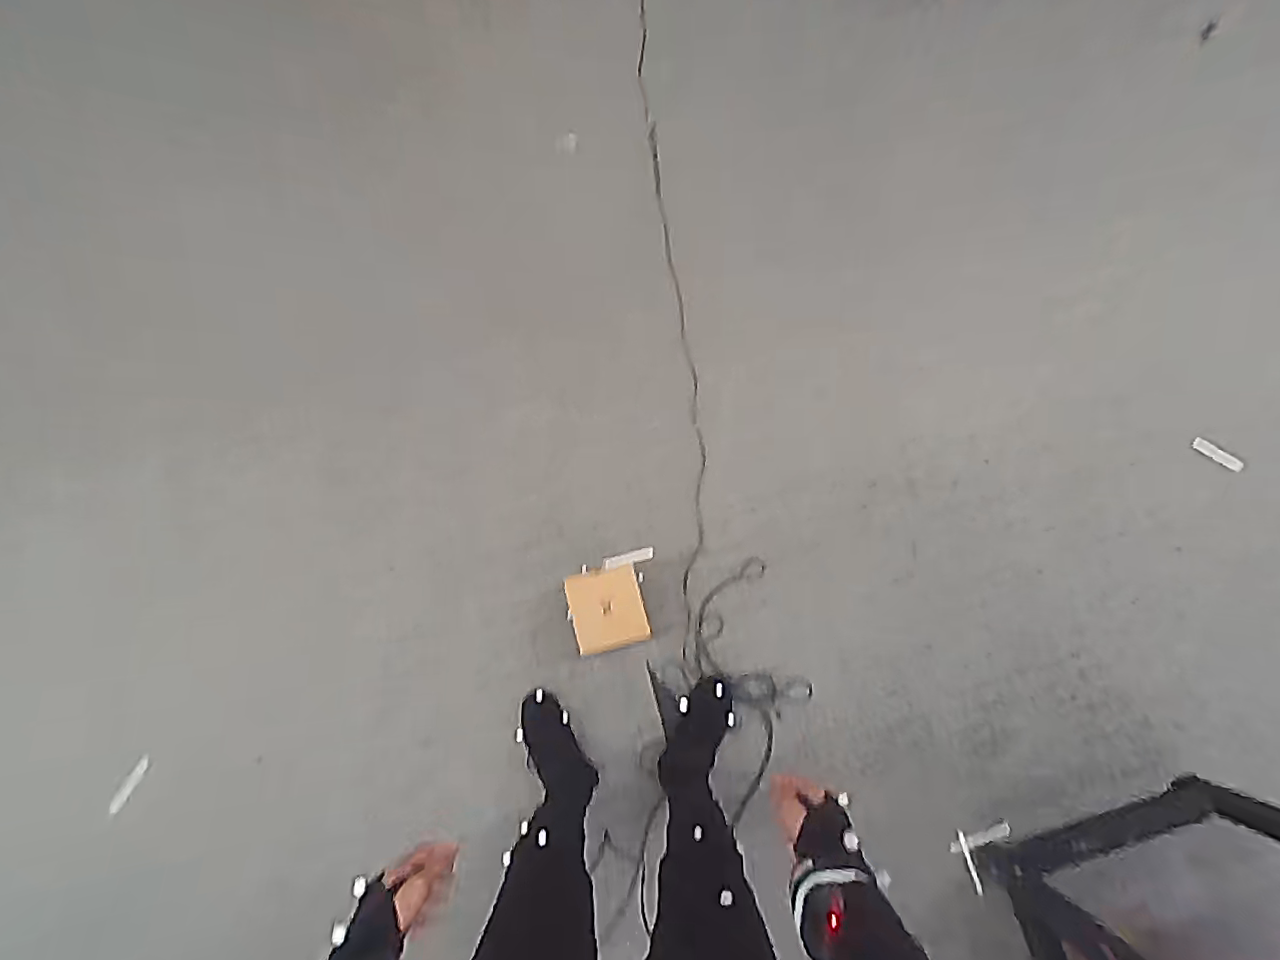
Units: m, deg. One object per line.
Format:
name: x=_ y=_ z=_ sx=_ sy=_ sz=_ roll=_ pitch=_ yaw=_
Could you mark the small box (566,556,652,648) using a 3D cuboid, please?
small box: x=-0.072 y=0.290 z=1.302 sx=0.168 sy=0.176 sz=0.179 roll=-14 pitch=81 yaw=-2
